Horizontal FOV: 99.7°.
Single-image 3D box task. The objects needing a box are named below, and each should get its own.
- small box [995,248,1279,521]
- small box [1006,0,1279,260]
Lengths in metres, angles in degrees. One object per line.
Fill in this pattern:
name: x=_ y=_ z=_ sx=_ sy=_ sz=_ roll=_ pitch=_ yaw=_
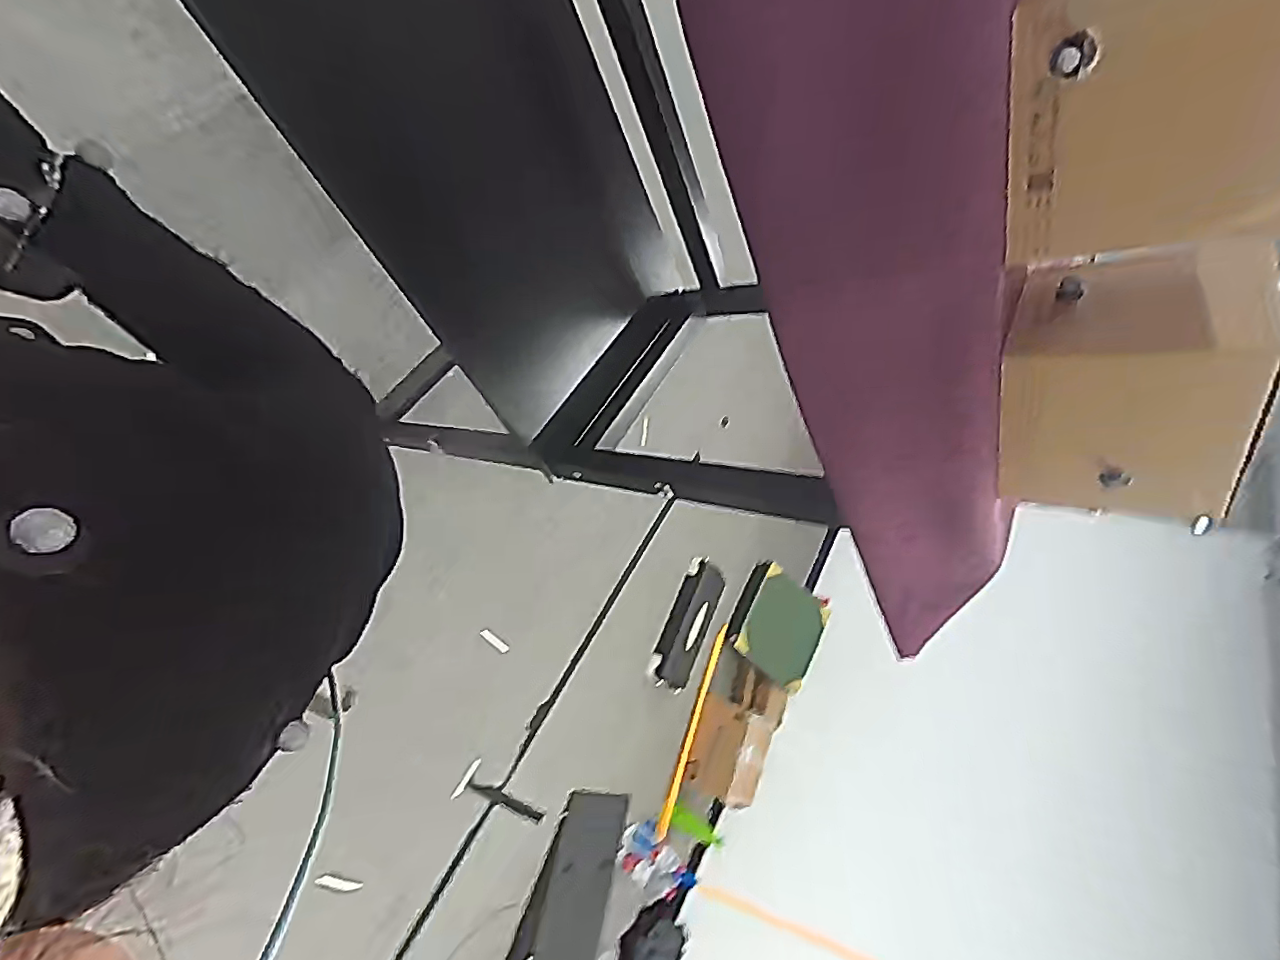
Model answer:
small box: x=0.447 y=-0.089 z=0.509 sx=0.168 sy=0.176 sz=0.179 roll=-54 pitch=134 yaw=-32
small box: x=0.357 y=-0.271 z=0.361 sx=0.179 sy=0.176 sz=0.168 roll=-57 pitch=136 yaw=-28
